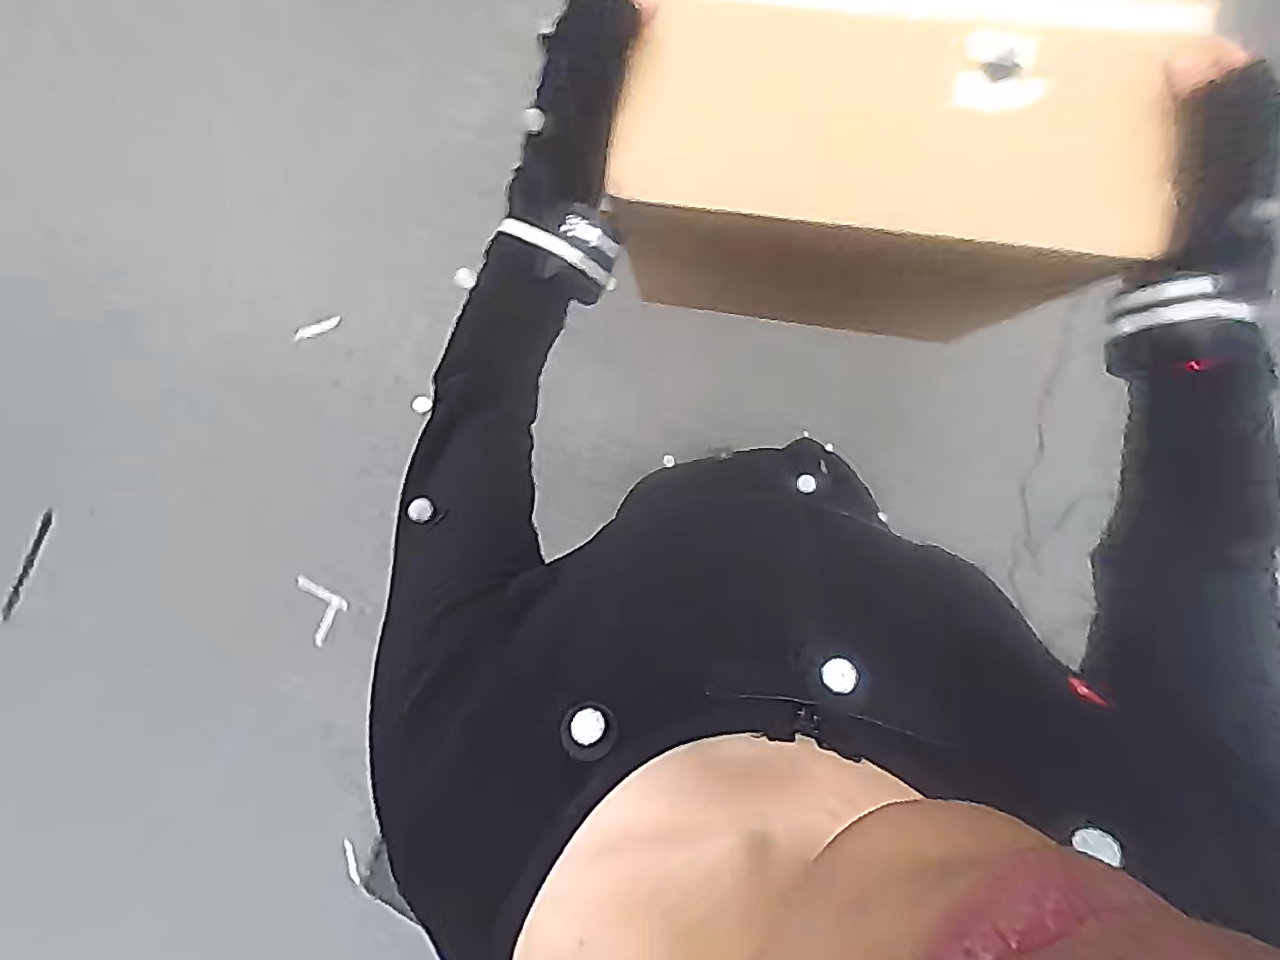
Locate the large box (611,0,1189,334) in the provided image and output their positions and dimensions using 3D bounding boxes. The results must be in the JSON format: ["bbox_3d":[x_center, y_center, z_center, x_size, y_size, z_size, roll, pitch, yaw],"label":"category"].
[{"bbox_3d":[0.200,-0.354,0.548,0.408,0.320,0.320,9,94,4],"label":"large box"}]
